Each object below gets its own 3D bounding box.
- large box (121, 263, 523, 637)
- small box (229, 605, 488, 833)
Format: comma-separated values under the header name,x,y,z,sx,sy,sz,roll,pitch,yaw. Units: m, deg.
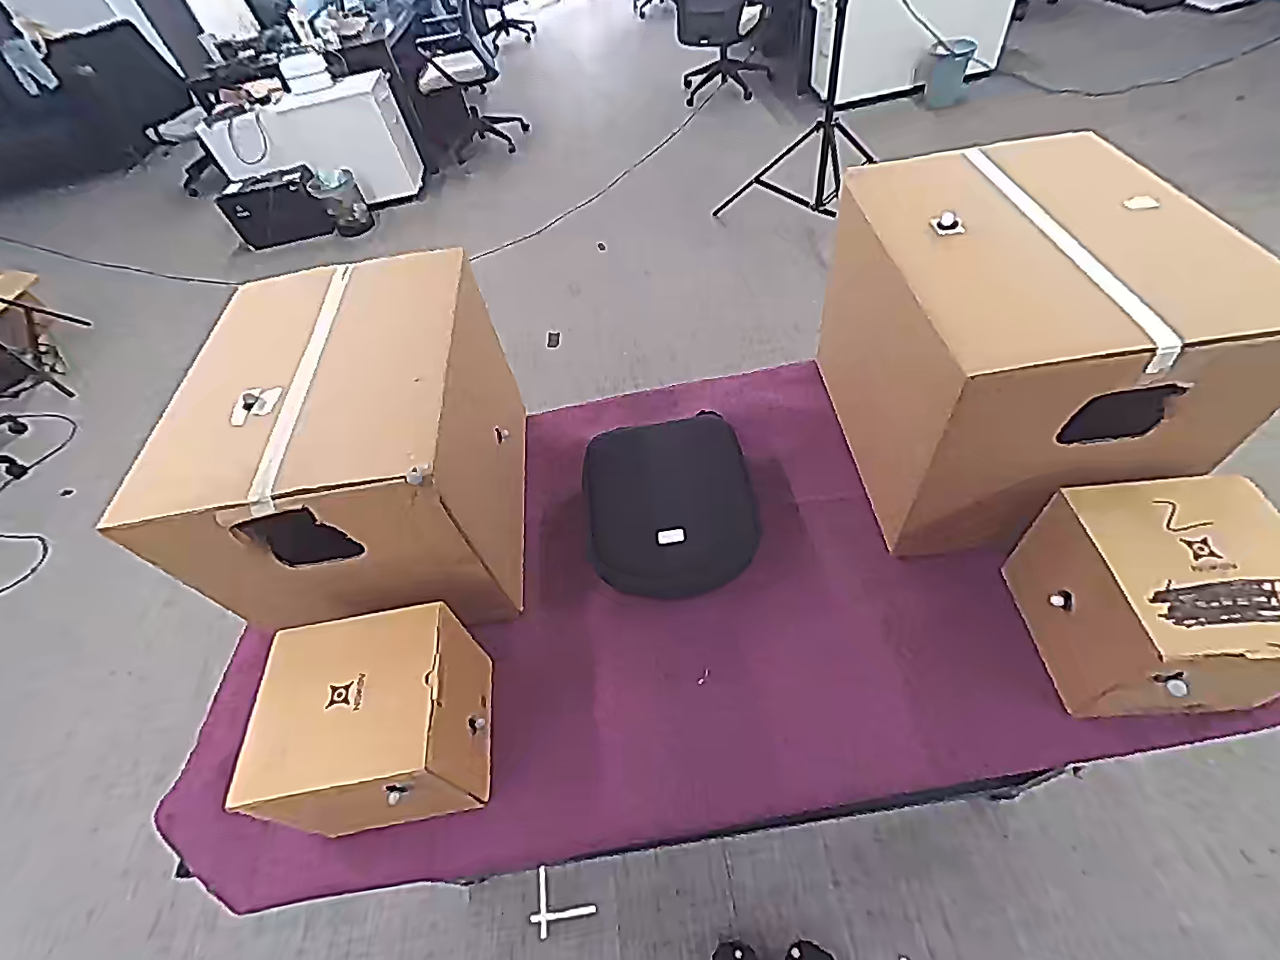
name,x,y,z,sx,sy,sz,roll,pitch,yaw
large box,-0.351,-0.029,0.741,0.320,0.320,0.408,-11,53,1
small box,-0.278,0.261,0.583,0.179,0.176,0.168,-11,50,-2
